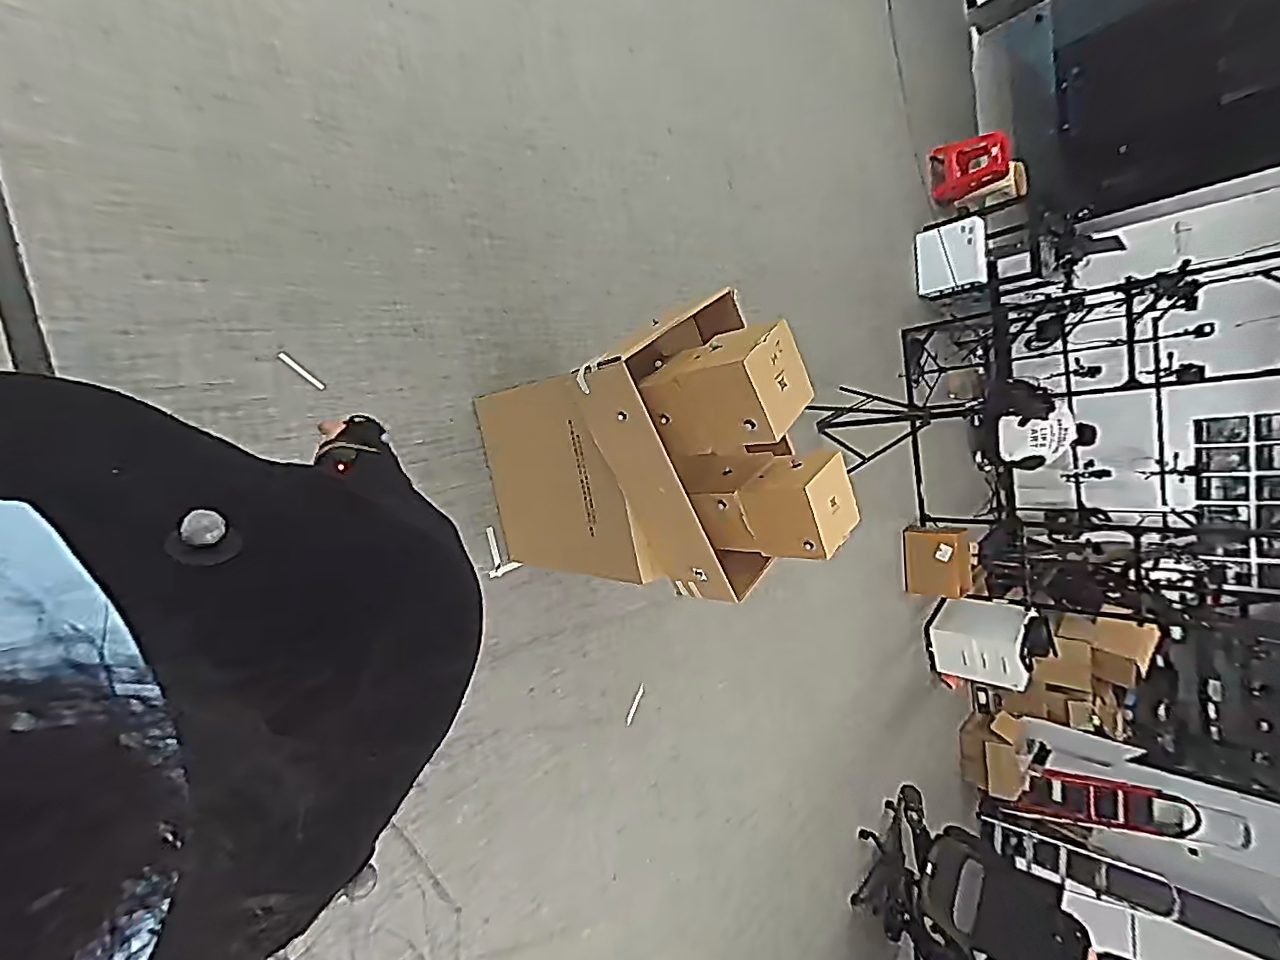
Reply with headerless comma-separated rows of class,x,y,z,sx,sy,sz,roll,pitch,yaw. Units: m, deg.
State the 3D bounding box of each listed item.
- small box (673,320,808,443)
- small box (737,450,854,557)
small box,0.198,-0.187,1.066,0.168,0.176,0.179,-46,119,-33
small box,0.339,0.051,1.191,0.168,0.176,0.179,-37,113,-37
